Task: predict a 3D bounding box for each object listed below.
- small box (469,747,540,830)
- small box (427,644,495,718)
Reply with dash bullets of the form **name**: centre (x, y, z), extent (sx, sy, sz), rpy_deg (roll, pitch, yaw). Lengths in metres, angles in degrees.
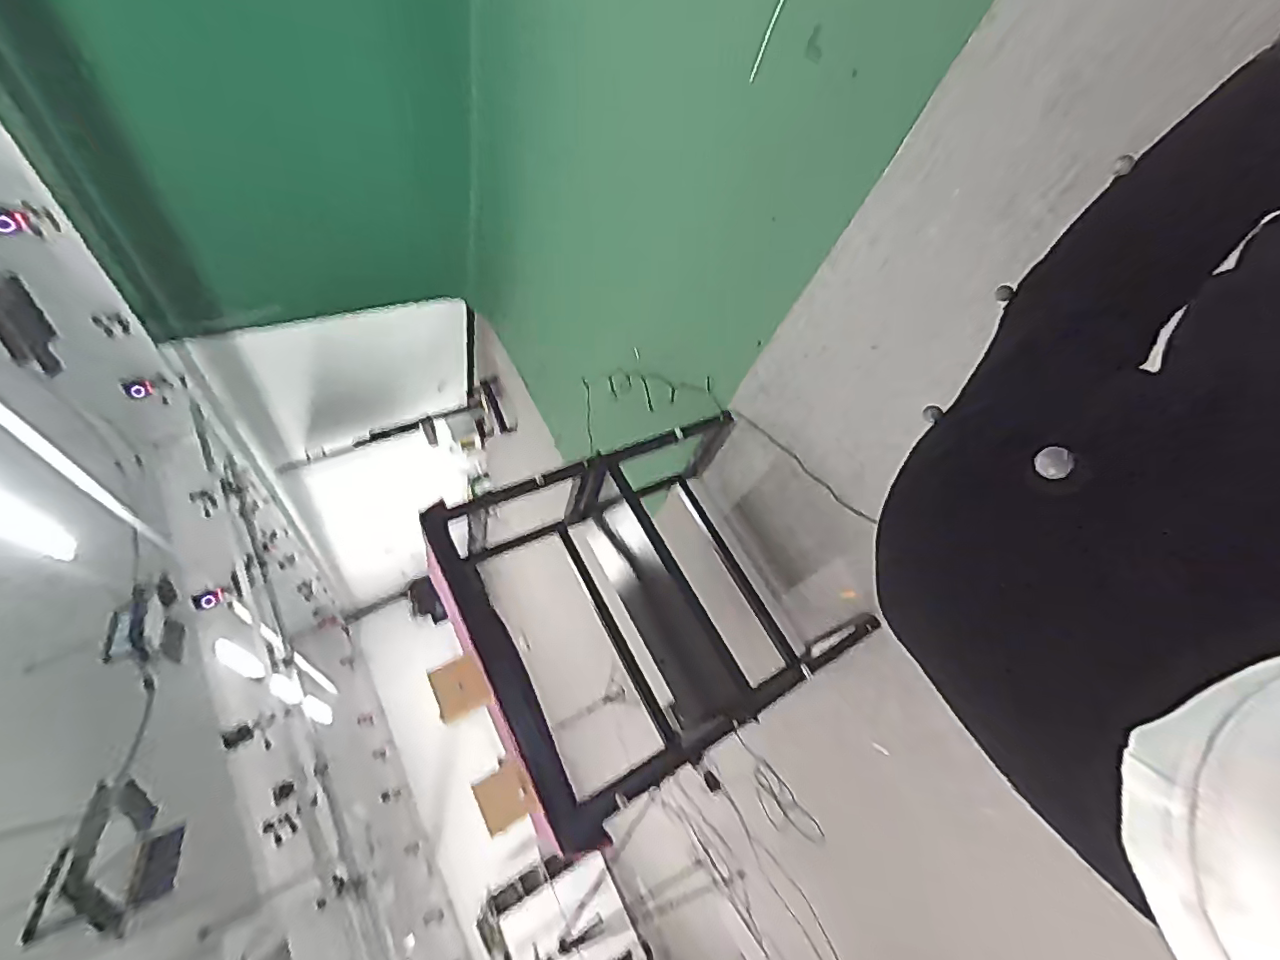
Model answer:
- **small box**: centre (-0.427, 0.970, 1.704), extent (0.168, 0.176, 0.179), rpy_deg (58, 152, 21)
- **small box**: centre (-0.608, 0.678, 1.838), extent (0.179, 0.176, 0.168), rpy_deg (59, 153, 17)
